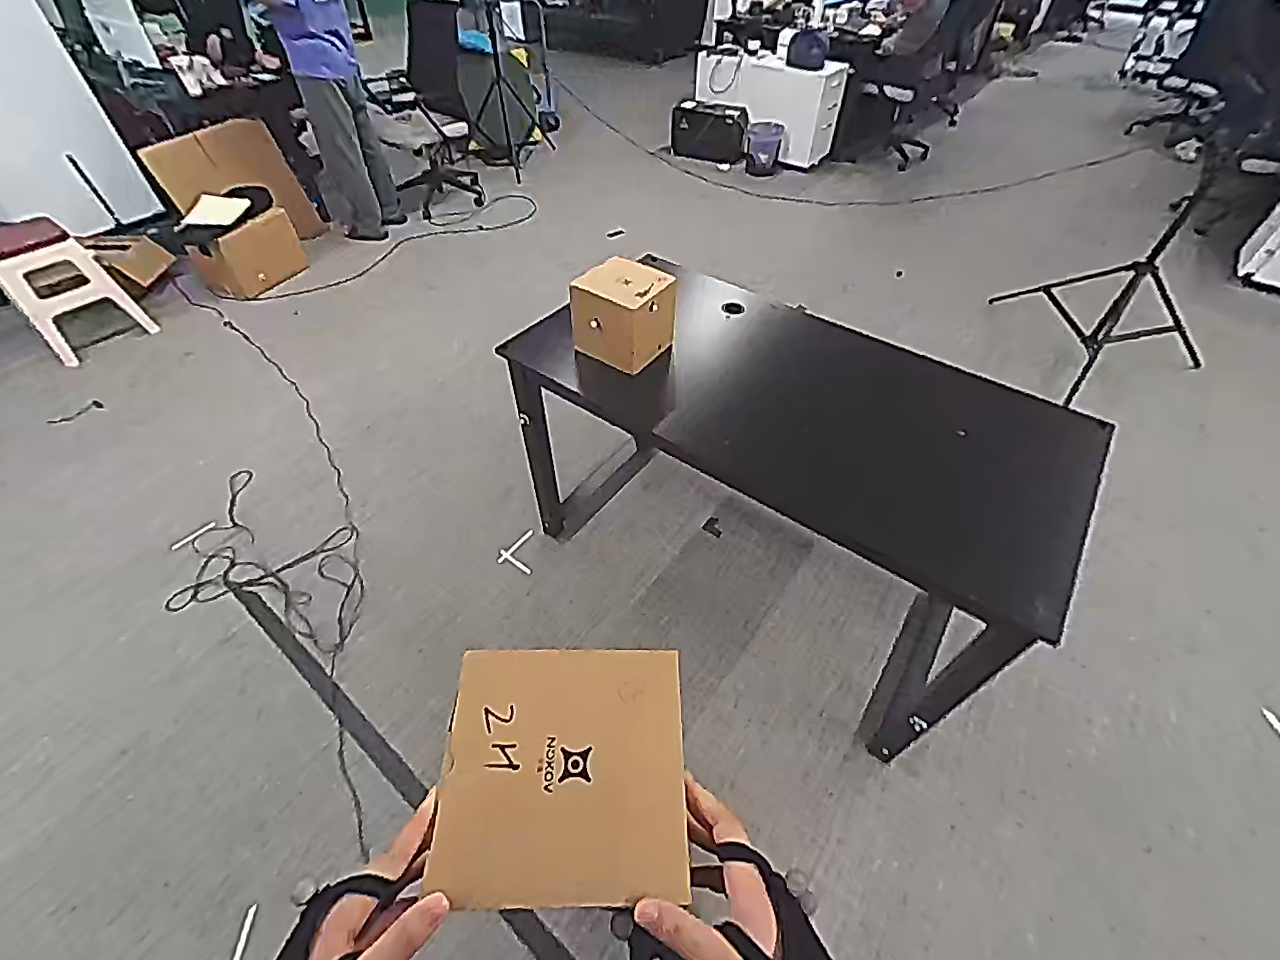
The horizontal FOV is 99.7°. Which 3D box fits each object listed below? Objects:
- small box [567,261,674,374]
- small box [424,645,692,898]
[{"bbox_3d":[-0.042,-0.365,1.226,0.179,0.176,0.168,28,54,23],"label":"small box"},{"bbox_3d":[-0.056,0.249,0.460,0.179,0.176,0.168,0,53,-2],"label":"small box"}]
